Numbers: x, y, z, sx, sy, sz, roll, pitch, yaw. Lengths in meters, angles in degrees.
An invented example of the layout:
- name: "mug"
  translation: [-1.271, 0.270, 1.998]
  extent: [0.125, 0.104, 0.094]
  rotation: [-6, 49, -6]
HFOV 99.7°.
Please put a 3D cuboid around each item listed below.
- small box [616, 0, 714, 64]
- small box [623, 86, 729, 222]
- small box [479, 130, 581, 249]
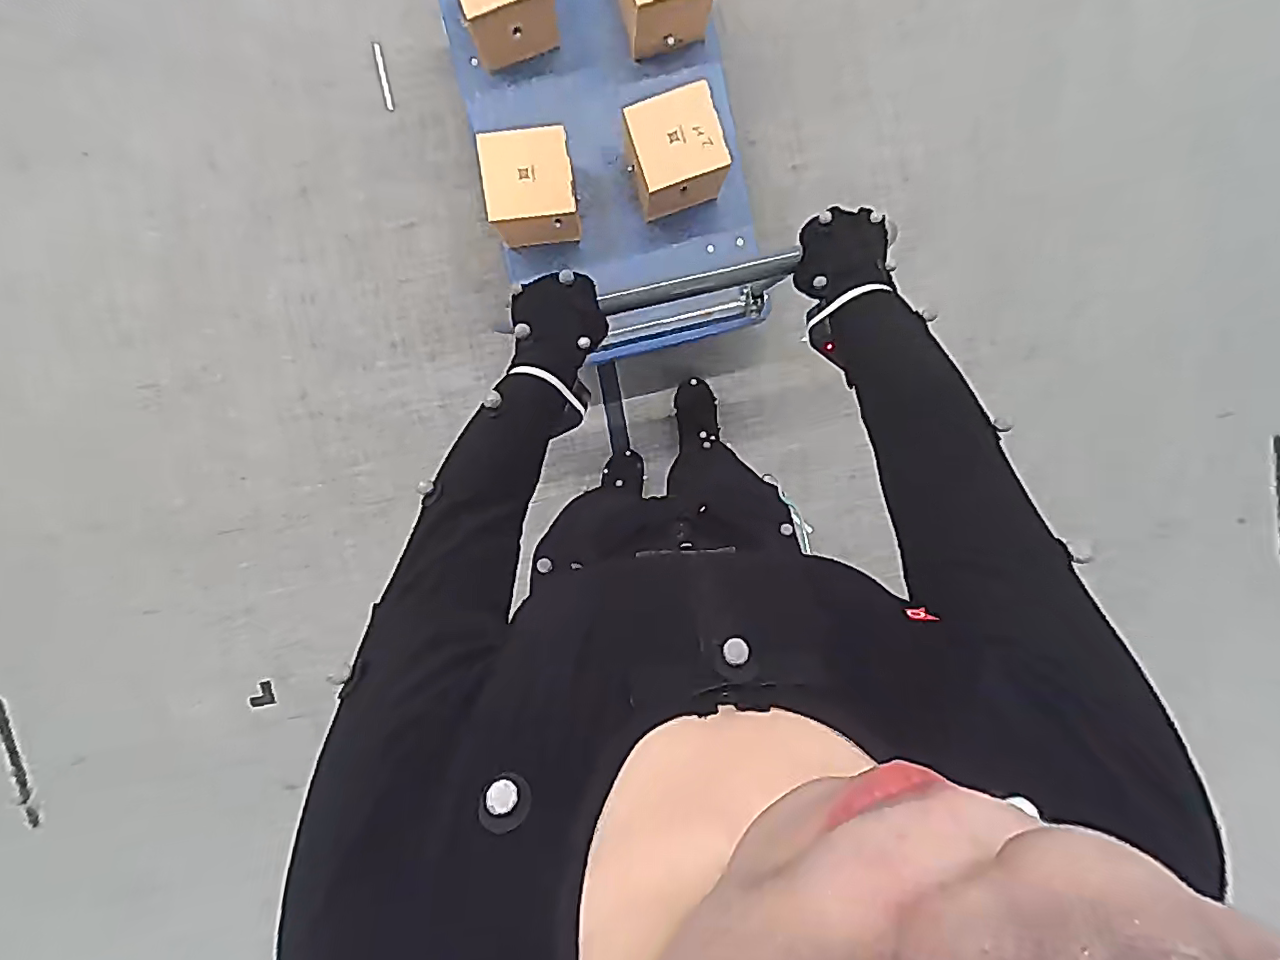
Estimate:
- name: "small box"
  translation: [0.043, -1.014, 1.109]
  extent: [0.168, 0.176, 0.179]
  rotation: [-17, 98, 0]
- name: "small box"
  translation: [0.071, -0.679, 1.149]
  extent: [0.179, 0.176, 0.168]
  rotation: [-19, 97, 0]
- name: "small box"
  translation: [-0.225, -0.605, 1.148]
  extent: [0.179, 0.176, 0.168]
  rotation: [-8, 97, -2]
